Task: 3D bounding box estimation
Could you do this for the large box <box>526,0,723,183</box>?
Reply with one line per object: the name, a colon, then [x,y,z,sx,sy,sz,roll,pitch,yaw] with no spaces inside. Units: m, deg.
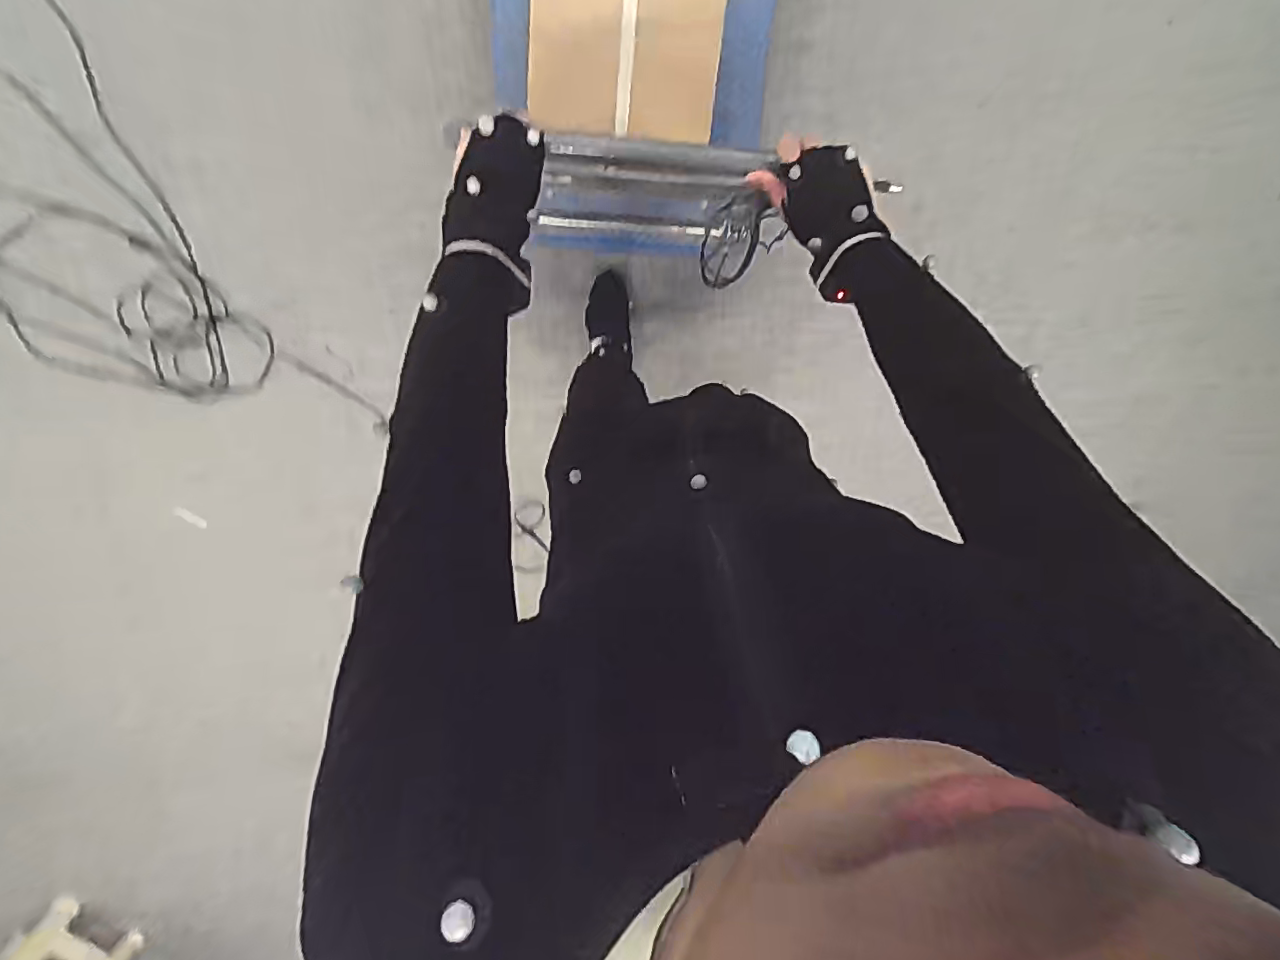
large box: [-0.029,-0.809,0.993,0.320,0.320,0.408,4,108,-6]
